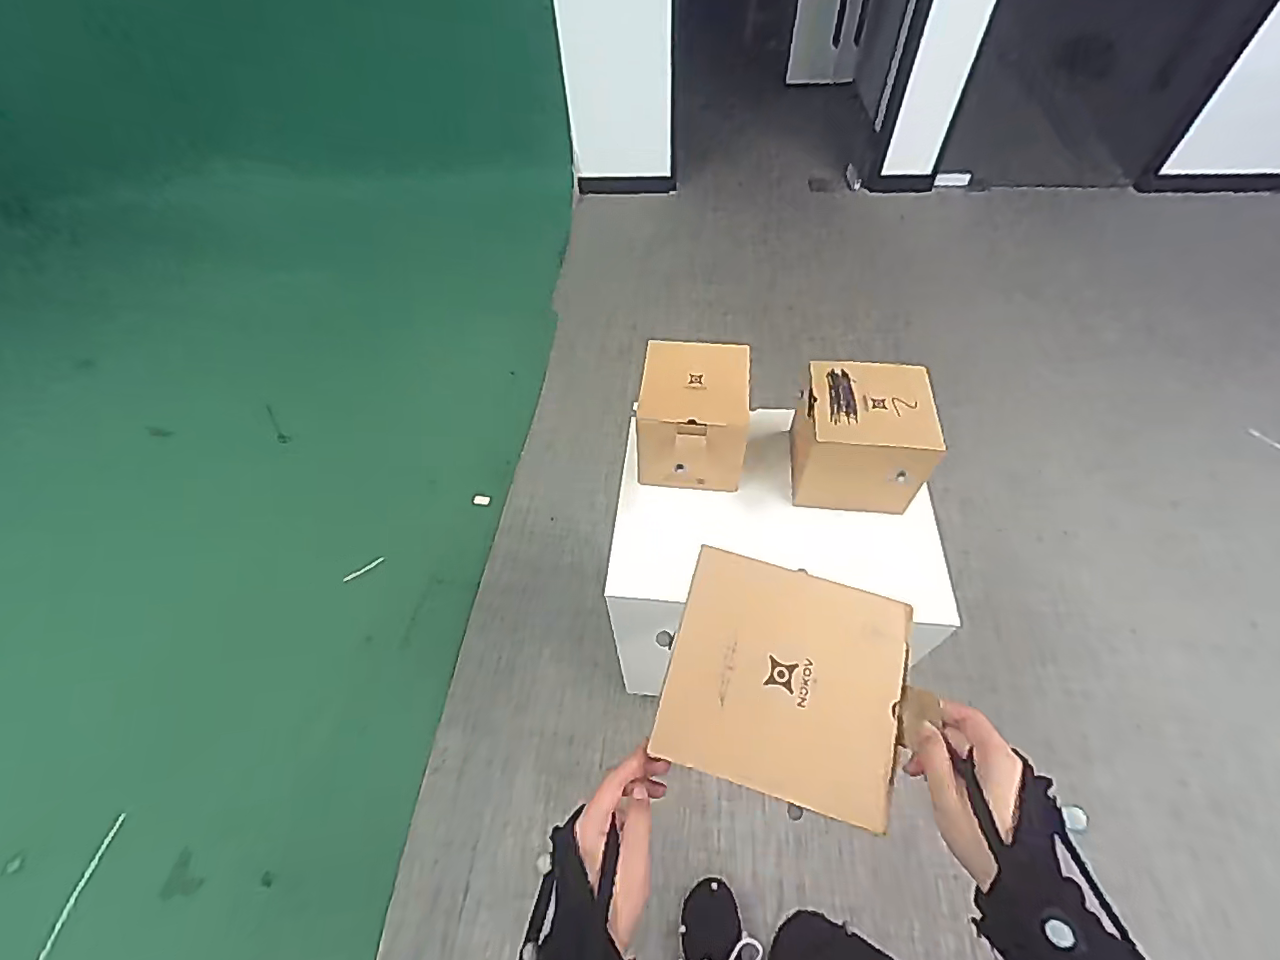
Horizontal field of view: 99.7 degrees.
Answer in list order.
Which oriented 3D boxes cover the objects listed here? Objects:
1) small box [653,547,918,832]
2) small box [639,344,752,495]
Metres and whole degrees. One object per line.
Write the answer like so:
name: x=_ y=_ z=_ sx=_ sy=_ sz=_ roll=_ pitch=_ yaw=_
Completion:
small box: x=0.116 y=0.179 z=0.482 sx=0.179 sy=0.176 sz=0.168 roll=14 pitch=67 yaw=8
small box: x=0.089 y=-0.097 z=0.890 sx=0.168 sy=0.176 sz=0.179 roll=4 pitch=55 yaw=5
